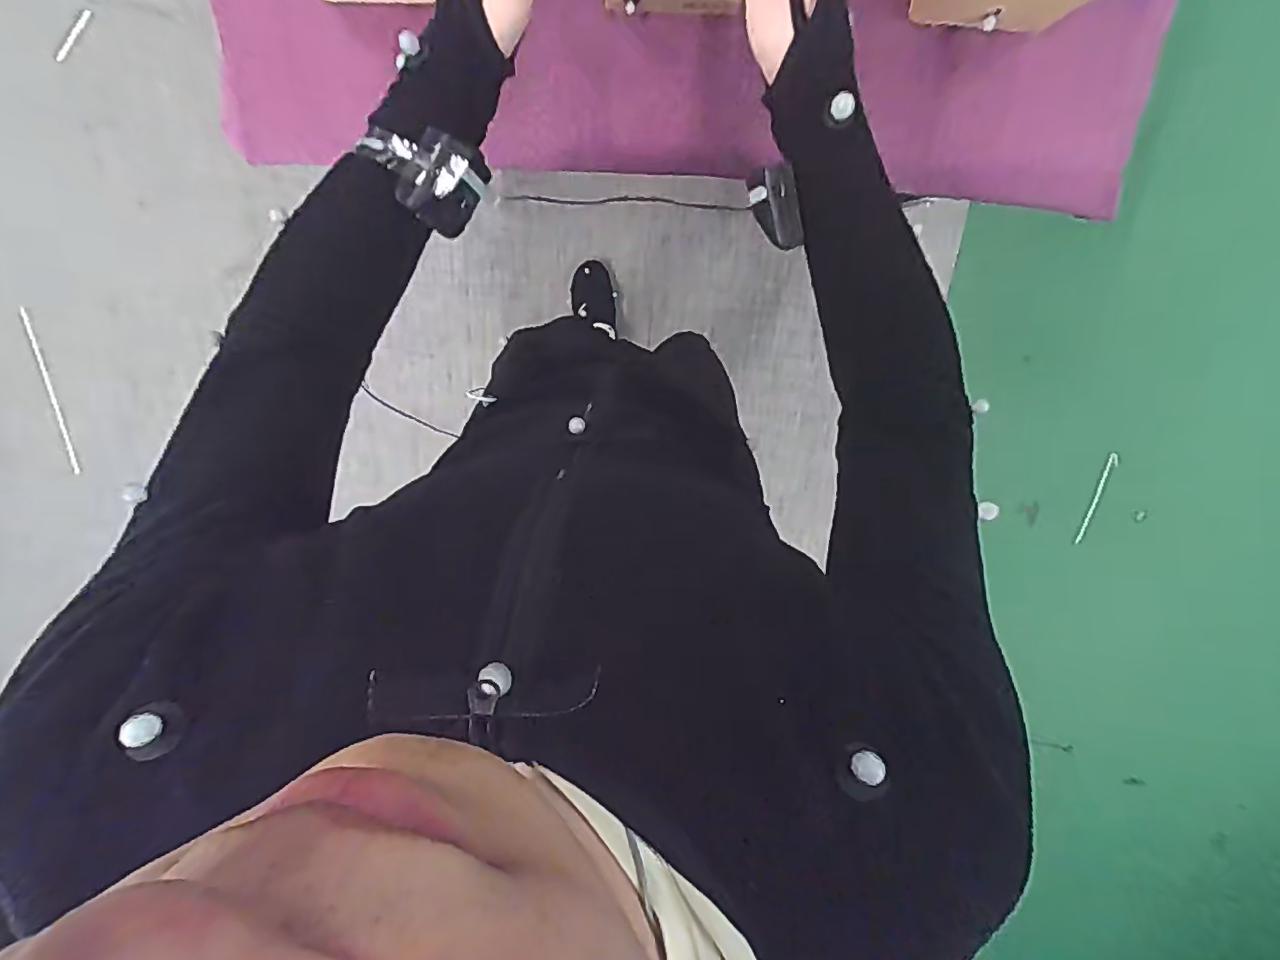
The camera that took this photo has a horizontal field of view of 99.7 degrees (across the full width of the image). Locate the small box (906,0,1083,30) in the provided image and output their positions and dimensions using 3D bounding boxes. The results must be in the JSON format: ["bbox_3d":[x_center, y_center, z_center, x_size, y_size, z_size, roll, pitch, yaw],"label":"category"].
[{"bbox_3d":[0.430,-0.628,0.591,0.179,0.176,0.168,2,110,-3],"label":"small box"}]

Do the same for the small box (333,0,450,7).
[{"bbox_3d":[-0.307,-0.643,0.564,0.168,0.176,0.179,0,111,-1],"label":"small box"}]

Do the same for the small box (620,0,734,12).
[{"bbox_3d":[0.040,-0.641,0.576,0.168,0.176,0.179,1,110,-2],"label":"small box"}]
